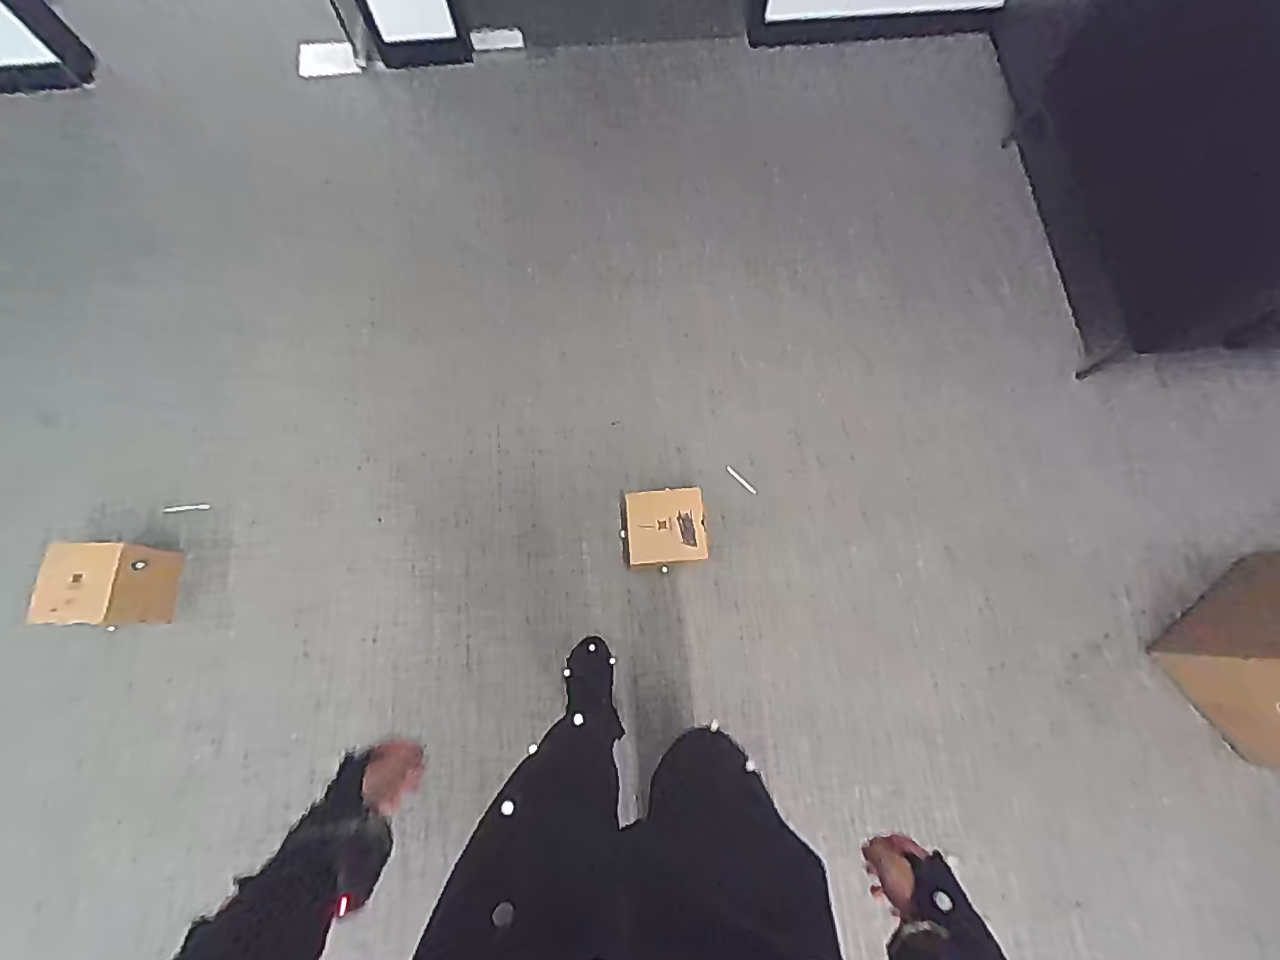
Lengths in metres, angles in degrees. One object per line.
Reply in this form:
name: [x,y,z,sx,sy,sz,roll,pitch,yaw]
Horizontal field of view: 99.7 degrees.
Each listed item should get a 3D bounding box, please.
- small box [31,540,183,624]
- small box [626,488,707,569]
small box: [-1.207,0.238,1.242,0.168,0.176,0.179,0,75,0]
small box: [0.057,0.120,1.300,0.179,0.176,0.168,-4,75,-1]
